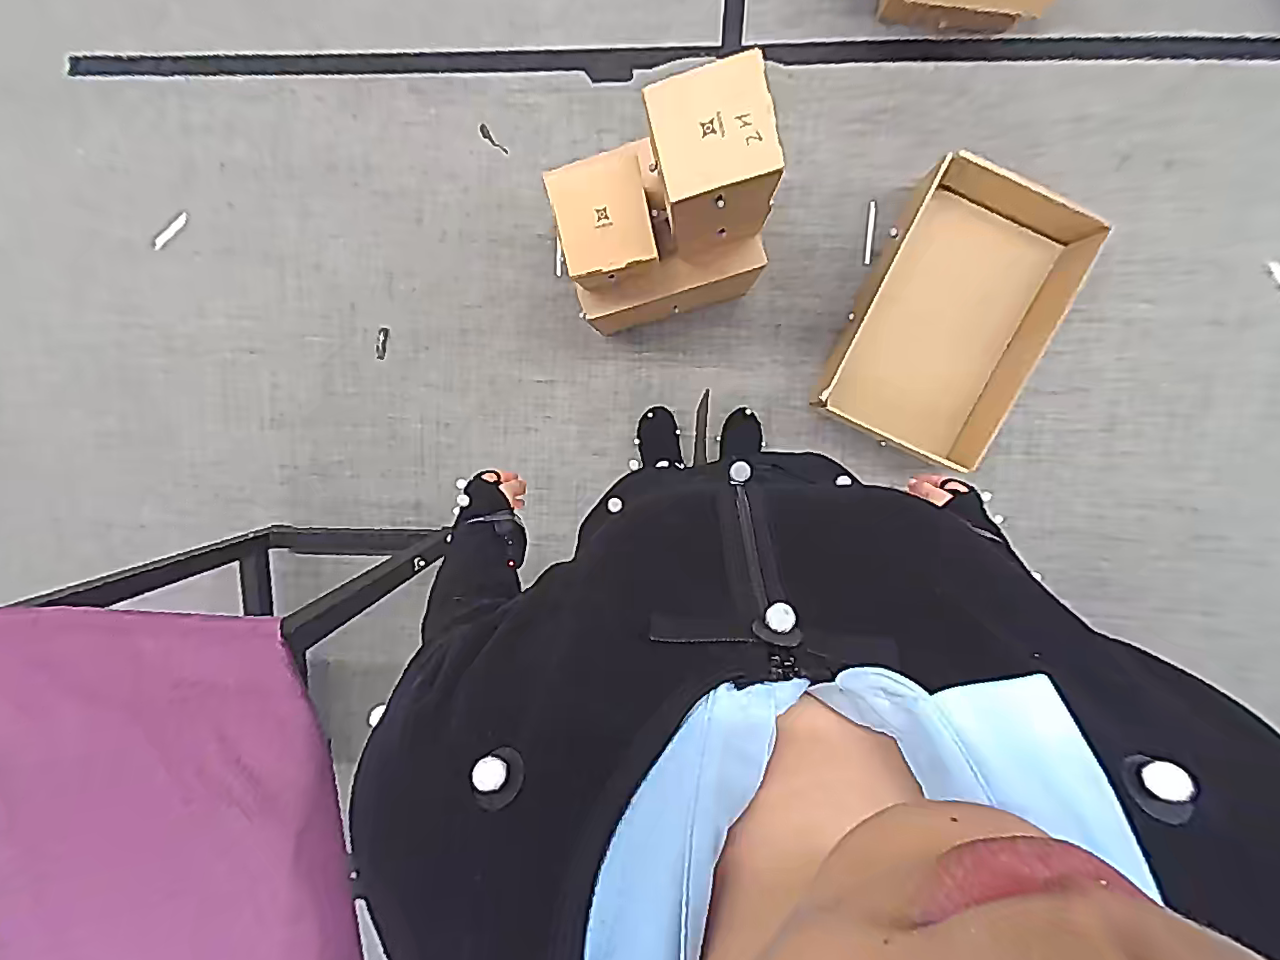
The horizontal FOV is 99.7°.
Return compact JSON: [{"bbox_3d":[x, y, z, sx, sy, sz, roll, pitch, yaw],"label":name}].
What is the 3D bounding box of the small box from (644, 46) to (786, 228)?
[{"bbox_3d":[0.115,-0.521,0.852,0.179,0.176,0.168,-14,98,7],"label":"small box"}]
